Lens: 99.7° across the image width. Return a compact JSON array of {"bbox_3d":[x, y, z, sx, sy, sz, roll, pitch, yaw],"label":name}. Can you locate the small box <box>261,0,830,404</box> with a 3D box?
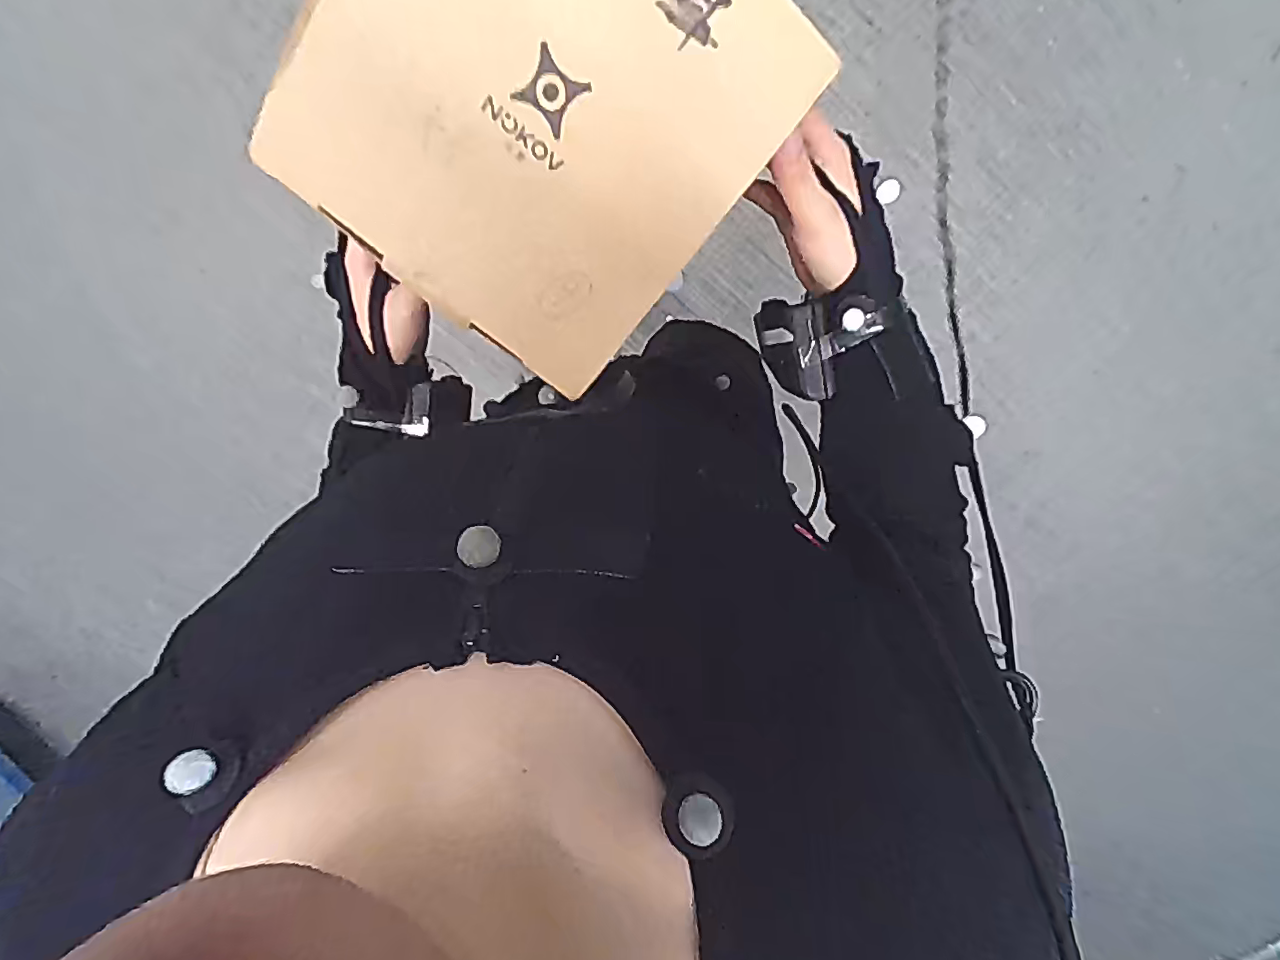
[{"bbox_3d":[-0.039,-0.176,0.285,0.168,0.176,0.179,37,112,-17],"label":"small box"}]
